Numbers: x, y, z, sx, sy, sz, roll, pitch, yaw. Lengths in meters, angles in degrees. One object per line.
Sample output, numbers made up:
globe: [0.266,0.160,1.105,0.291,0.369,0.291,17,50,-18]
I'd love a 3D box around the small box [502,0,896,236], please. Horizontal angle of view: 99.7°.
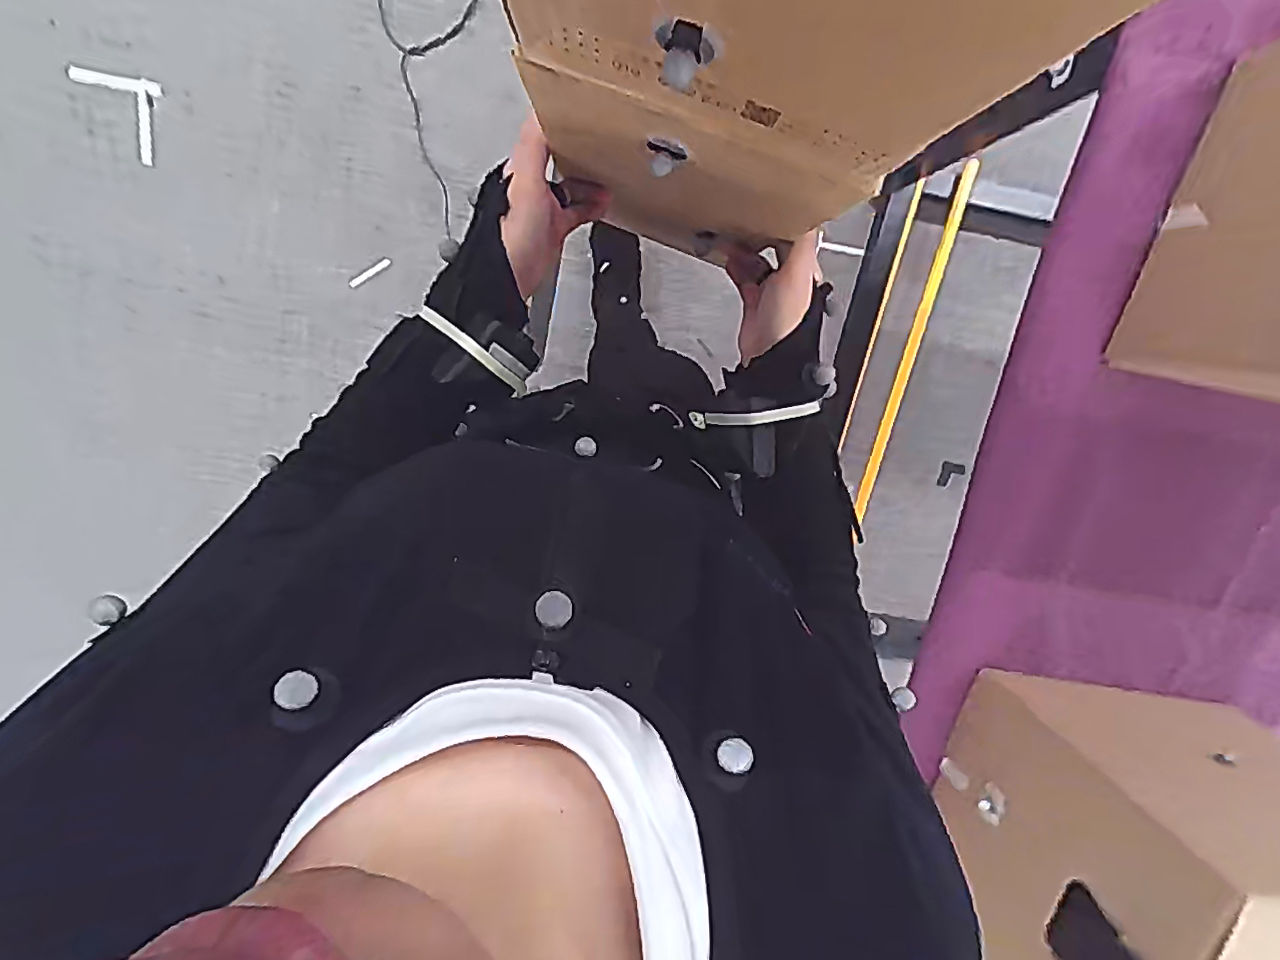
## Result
small box: [0.047,-0.250,0.290,0.179,0.176,0.168,17,104,-7]

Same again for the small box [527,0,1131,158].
small box: [0.053,-0.217,0.131,0.168,0.176,0.179,16,104,-6]

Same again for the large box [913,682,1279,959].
large box: [0.620,0.473,0.631,0.408,0.320,0.320,10,104,-8]
